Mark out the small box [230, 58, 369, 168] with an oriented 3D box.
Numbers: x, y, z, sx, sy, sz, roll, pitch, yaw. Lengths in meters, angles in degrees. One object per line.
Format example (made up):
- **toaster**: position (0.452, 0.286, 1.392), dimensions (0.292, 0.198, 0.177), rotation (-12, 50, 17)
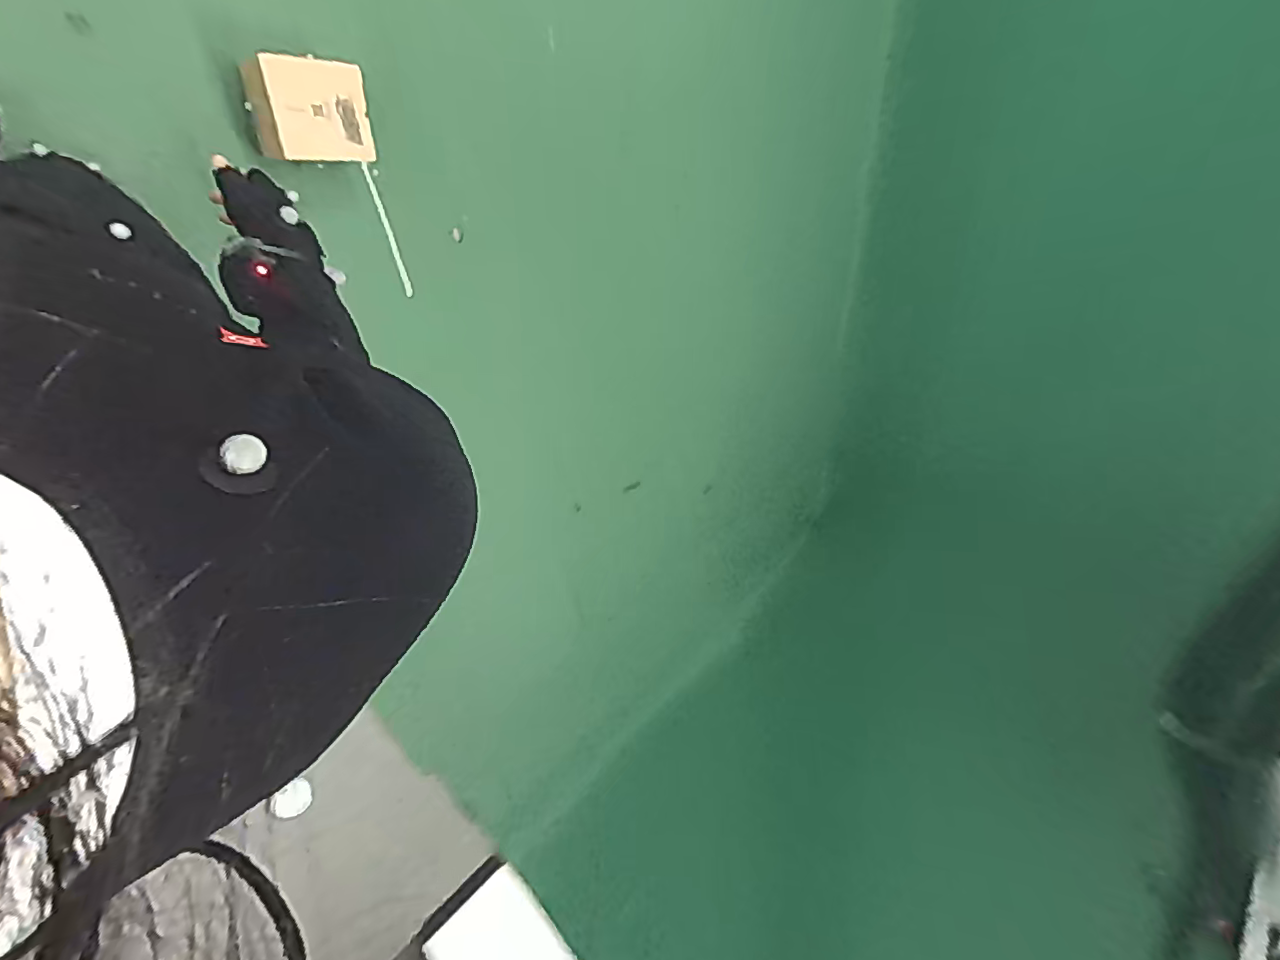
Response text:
- **small box**: position (-0.681, -0.727, 1.087), dimensions (0.179, 0.176, 0.168), rotation (-24, 128, -37)
